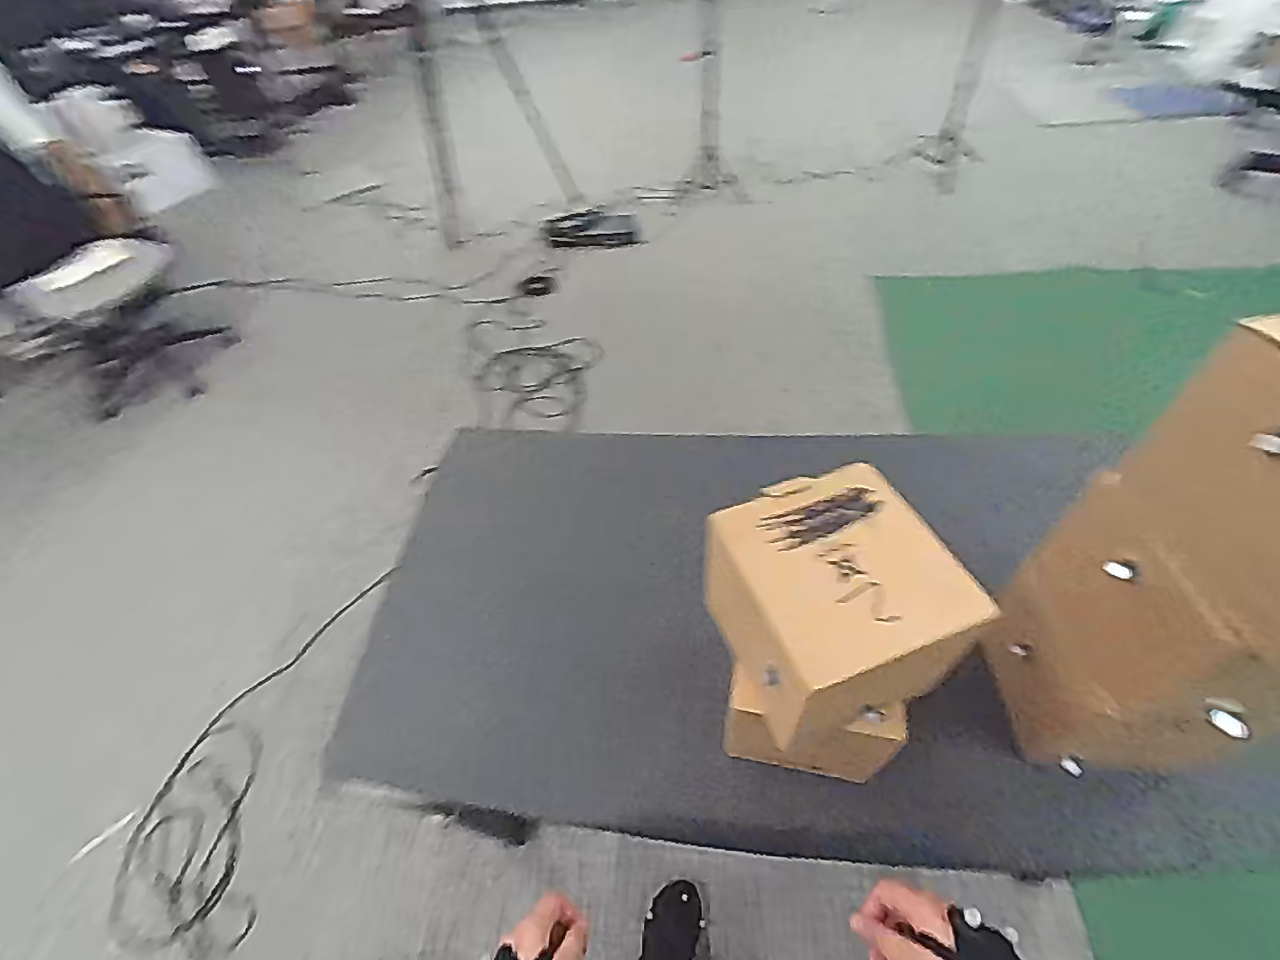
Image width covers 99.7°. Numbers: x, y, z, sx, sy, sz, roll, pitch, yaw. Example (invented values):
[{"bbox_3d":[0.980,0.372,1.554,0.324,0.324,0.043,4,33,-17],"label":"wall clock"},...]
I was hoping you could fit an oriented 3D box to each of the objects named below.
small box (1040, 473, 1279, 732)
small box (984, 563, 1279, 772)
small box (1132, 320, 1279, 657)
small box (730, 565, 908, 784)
[{"bbox_3d":[0.510,0.108,0.485,0.168,0.176,0.179,-4,49,6],"label":"small box"},{"bbox_3d":[0.527,0.212,0.609,0.168,0.176,0.179,0,48,8],"label":"small box"},{"bbox_3d":[0.495,0.006,0.356,0.168,0.176,0.179,-6,48,4],"label":"small box"},{"bbox_3d":[0.199,0.228,0.637,0.168,0.176,0.179,7,50,12],"label":"small box"}]
